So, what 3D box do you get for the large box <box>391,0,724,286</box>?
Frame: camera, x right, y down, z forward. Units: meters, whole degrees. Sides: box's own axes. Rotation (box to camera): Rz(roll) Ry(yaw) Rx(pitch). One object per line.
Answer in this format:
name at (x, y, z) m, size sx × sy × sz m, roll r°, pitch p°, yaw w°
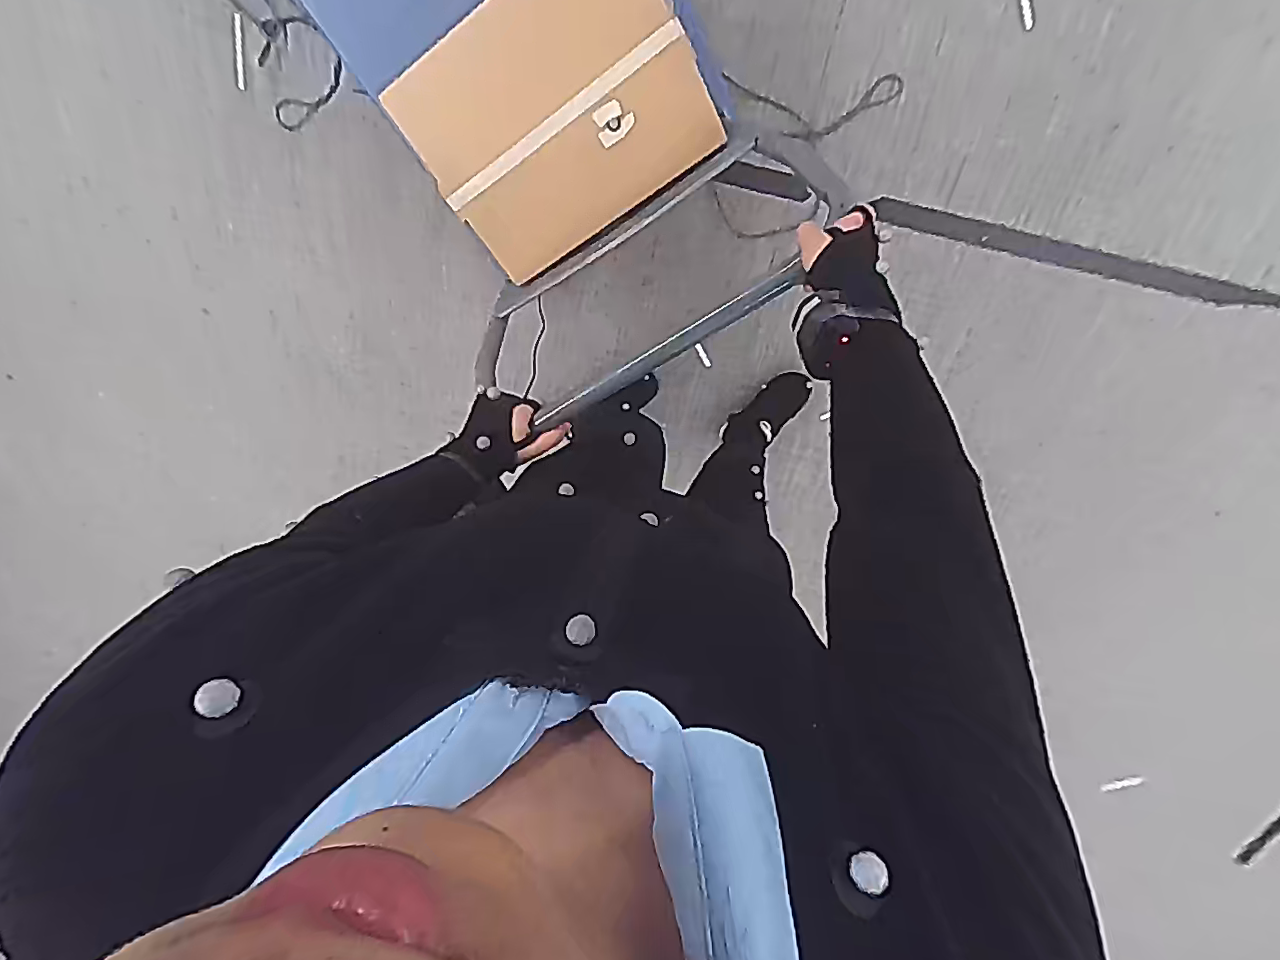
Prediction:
large box at (-0.126, -0.607, 0.921) m, size 0.408 × 0.320 × 0.320 m, roll -29°, pitch 122°, yaw 14°
